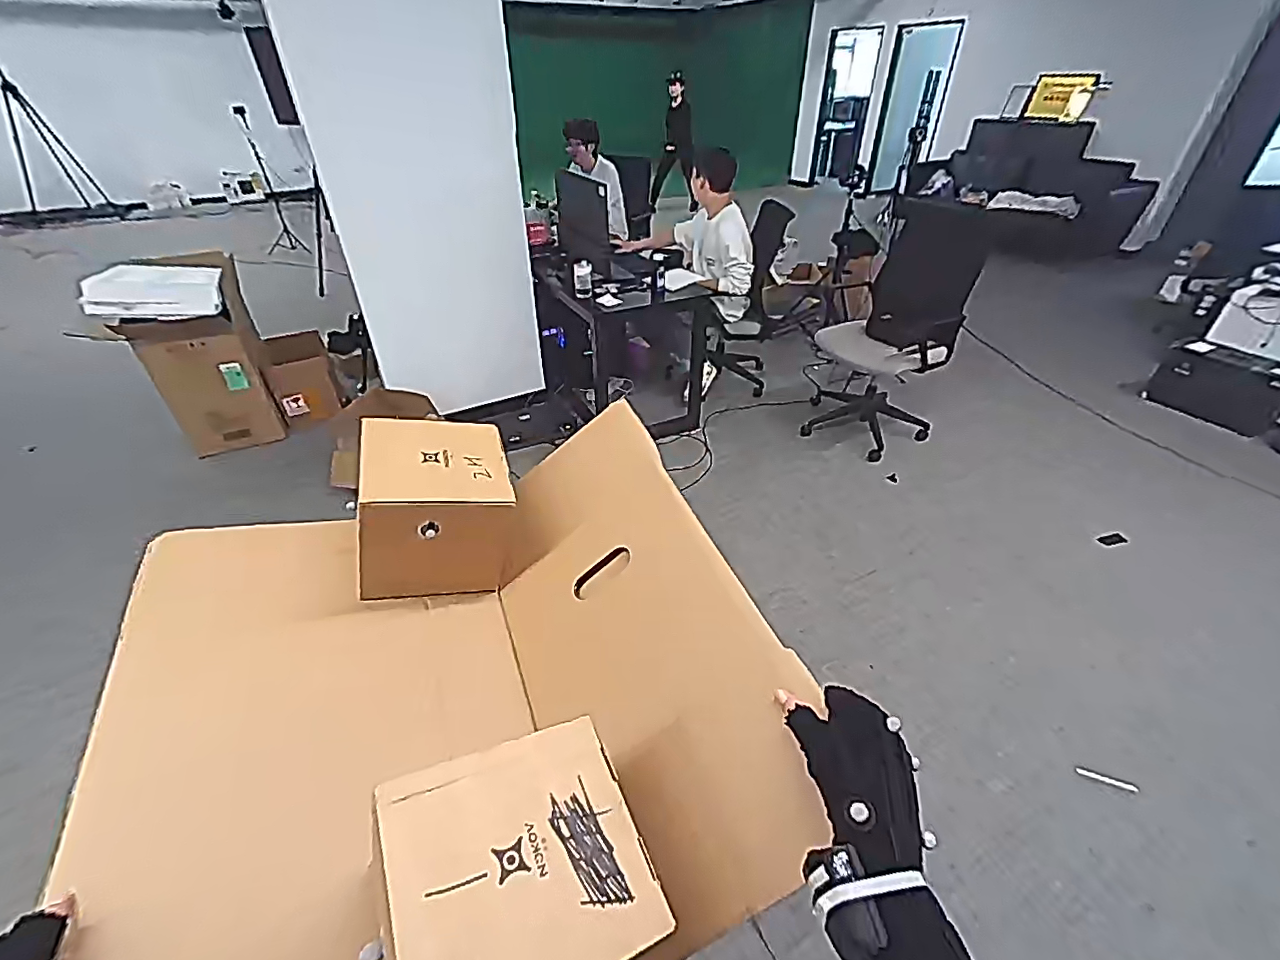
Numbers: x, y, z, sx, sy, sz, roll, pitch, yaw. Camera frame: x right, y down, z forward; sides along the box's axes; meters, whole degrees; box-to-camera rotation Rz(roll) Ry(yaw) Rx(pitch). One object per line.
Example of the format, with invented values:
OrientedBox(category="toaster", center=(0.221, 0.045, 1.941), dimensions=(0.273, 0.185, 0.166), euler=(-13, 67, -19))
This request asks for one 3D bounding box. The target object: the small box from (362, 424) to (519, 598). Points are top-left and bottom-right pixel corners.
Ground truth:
OrientedBox(category="small box", center=(-0.273, 0.044, 0.728), dimensions=(0.179, 0.176, 0.168), euler=(2, 39, -26))
